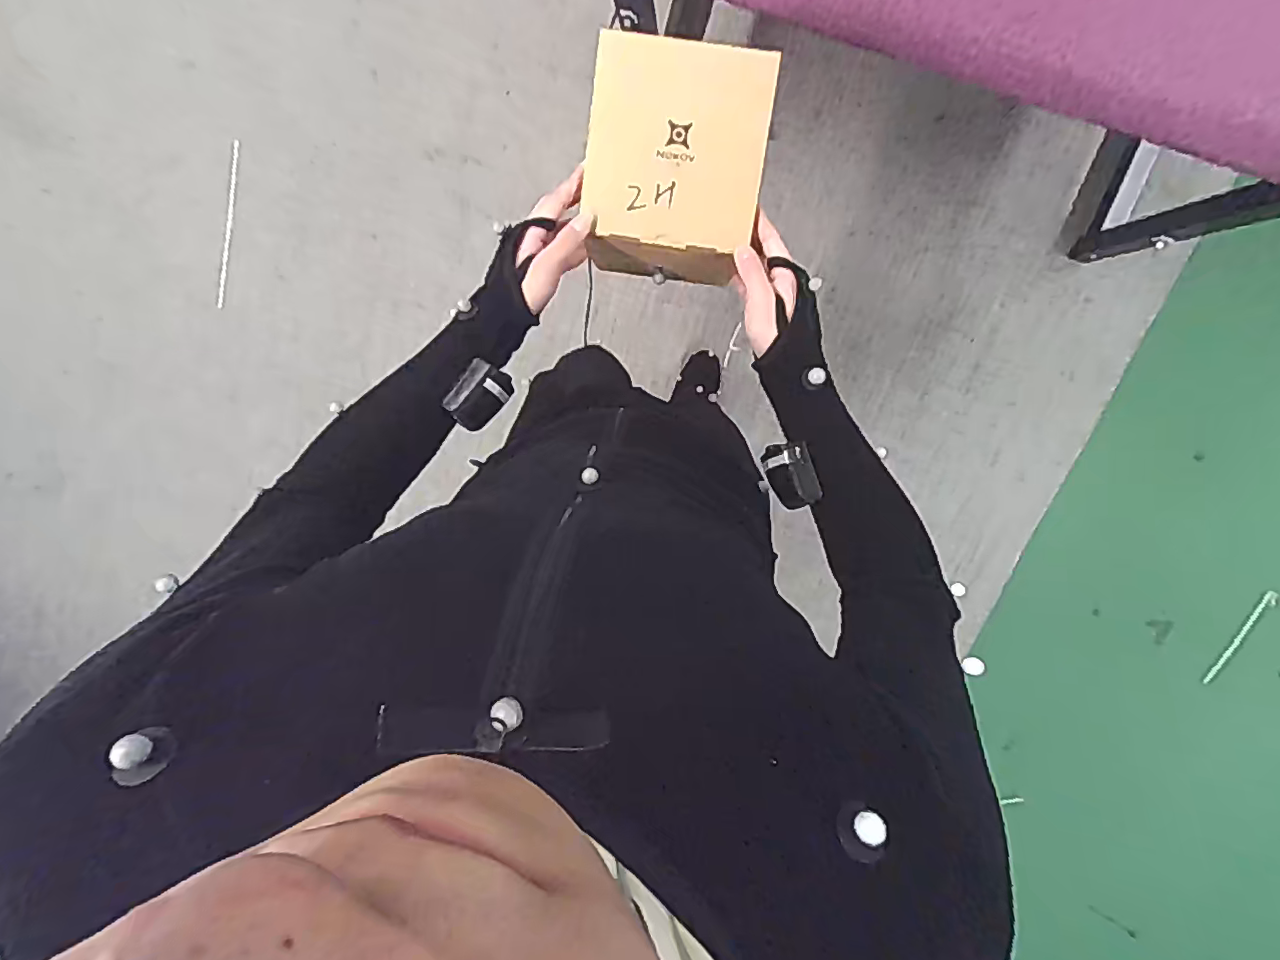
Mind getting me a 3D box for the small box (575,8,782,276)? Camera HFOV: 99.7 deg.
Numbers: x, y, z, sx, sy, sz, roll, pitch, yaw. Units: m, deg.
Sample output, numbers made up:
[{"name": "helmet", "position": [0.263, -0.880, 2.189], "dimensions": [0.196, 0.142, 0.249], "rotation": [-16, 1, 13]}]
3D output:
[{"name": "small box", "position": [0.034, -0.329, 0.563], "dimensions": [0.168, 0.176, 0.179], "rotation": [8, 100, 1]}]
